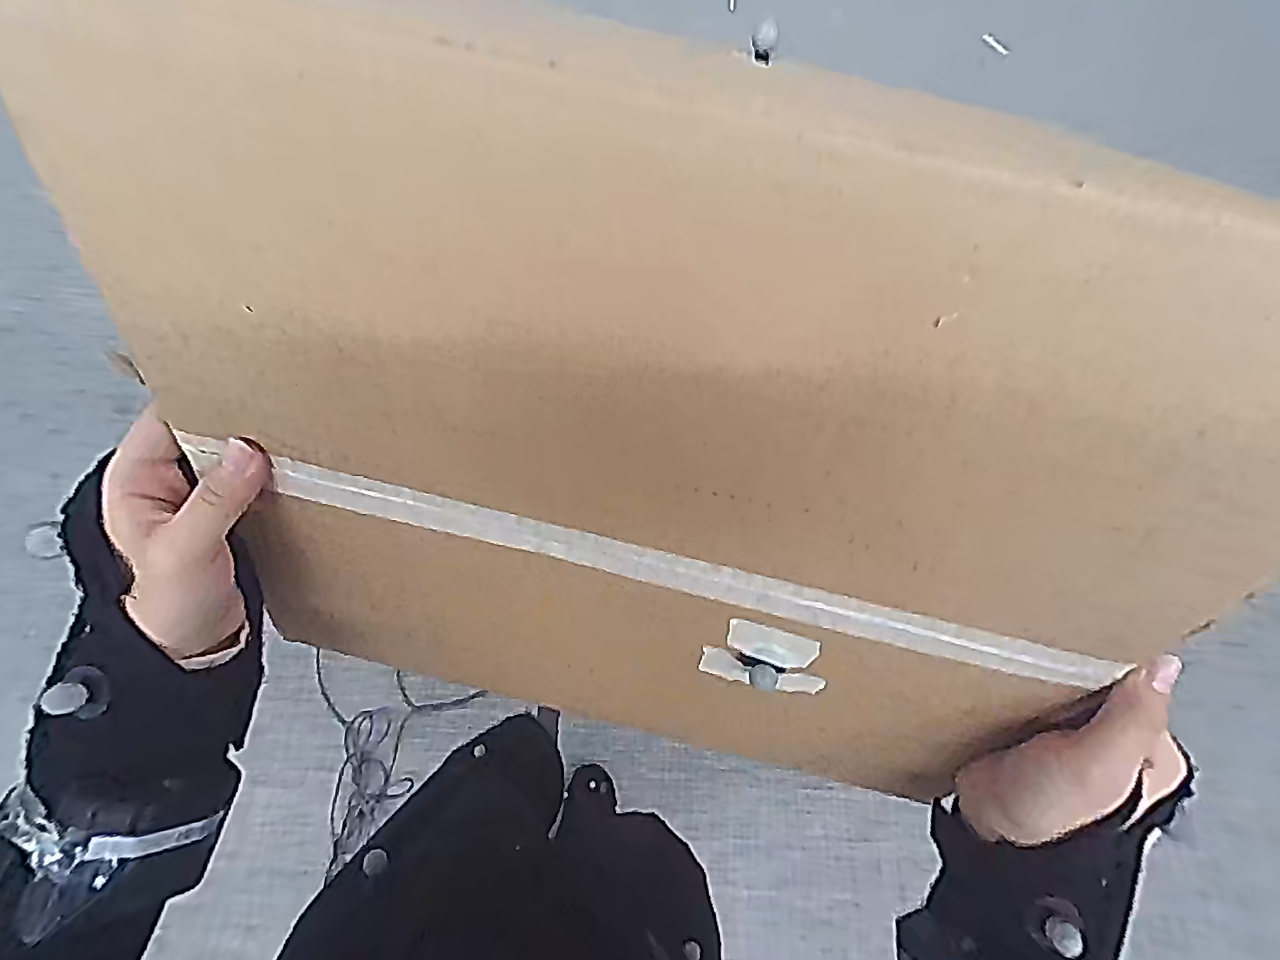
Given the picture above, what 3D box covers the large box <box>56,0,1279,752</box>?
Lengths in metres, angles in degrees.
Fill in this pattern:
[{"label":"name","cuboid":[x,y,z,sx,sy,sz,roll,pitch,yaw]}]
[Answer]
[{"label":"large box","cuboid":[0.038,-0.089,0.336,0.408,0.320,0.320,13,42,1]}]
